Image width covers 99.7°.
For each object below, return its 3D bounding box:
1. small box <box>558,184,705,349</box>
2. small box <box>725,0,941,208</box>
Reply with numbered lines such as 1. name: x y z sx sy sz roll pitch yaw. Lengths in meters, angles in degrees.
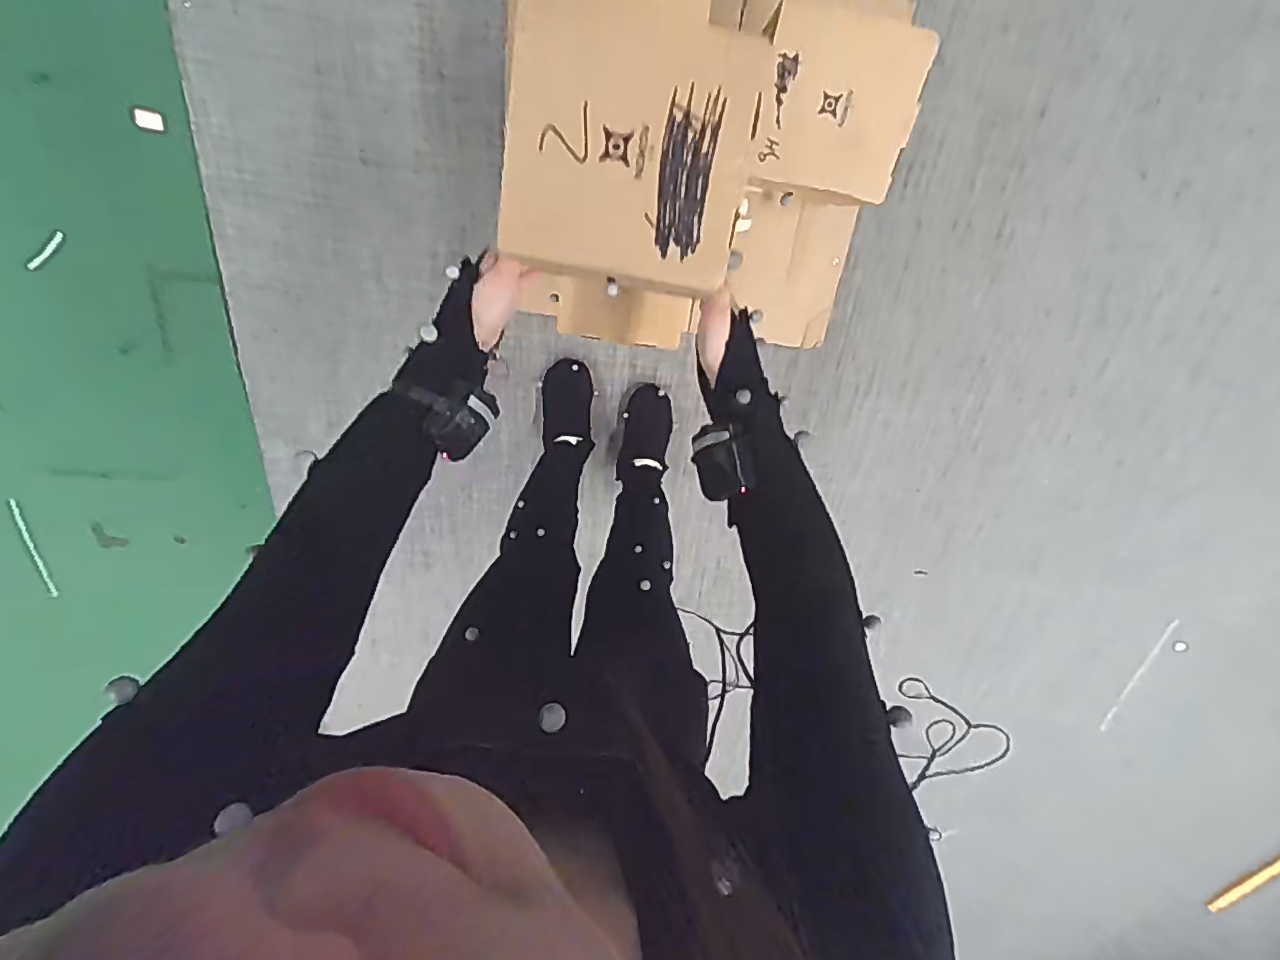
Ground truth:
1. small box: -0.017 -0.297 0.744 0.168 0.176 0.179 7 119 -5
2. small box: 0.218 -0.447 0.667 0.179 0.176 0.168 10 117 -5
